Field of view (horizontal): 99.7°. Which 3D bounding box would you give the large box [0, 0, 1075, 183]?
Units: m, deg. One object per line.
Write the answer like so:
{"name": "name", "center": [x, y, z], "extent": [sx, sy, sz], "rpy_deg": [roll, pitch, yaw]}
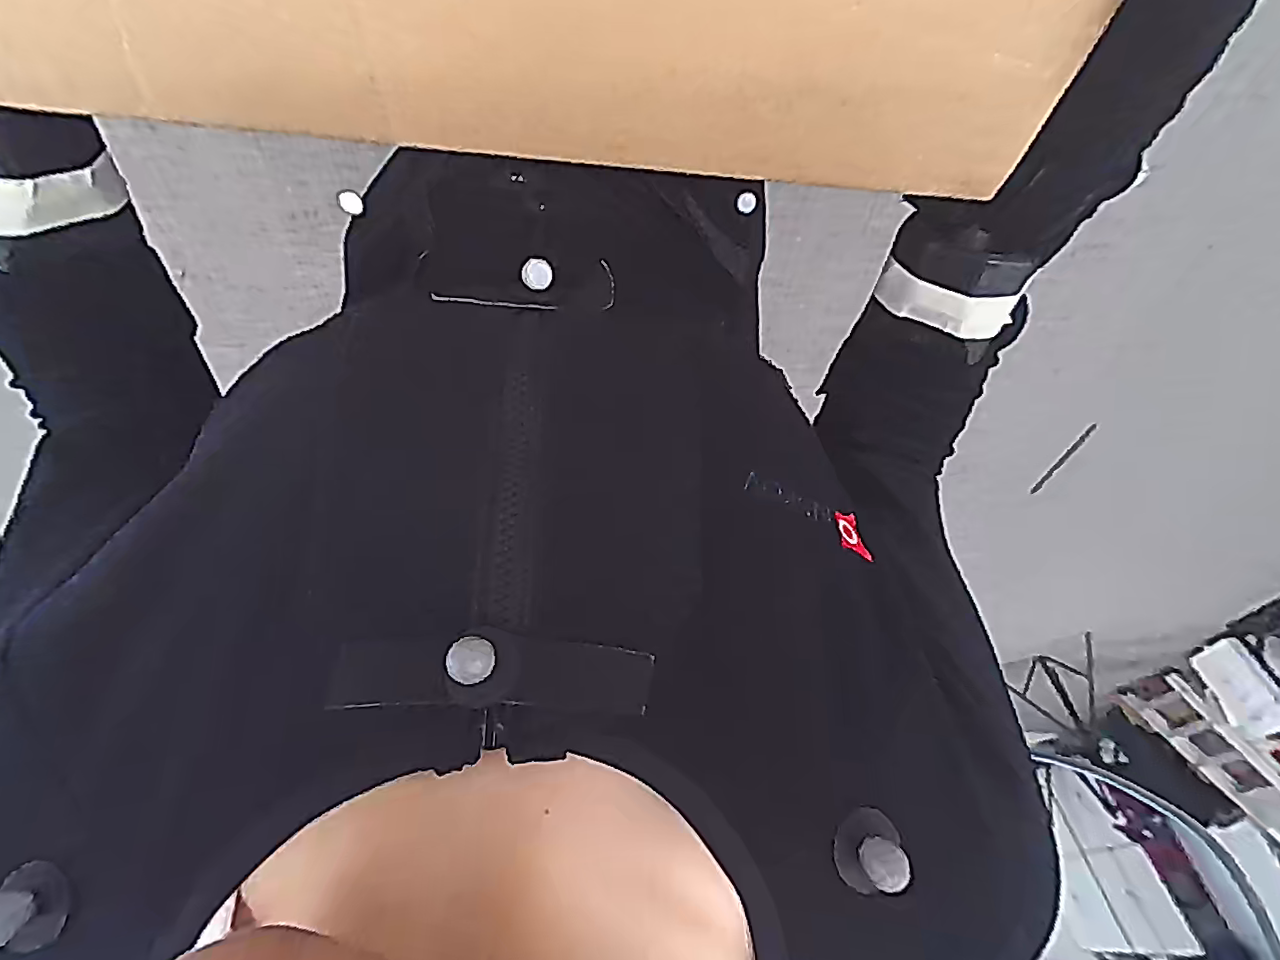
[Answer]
{"name": "large box", "center": [-0.041, -0.343, 0.172], "extent": [0.408, 0.320, 0.320], "rpy_deg": [3, 146, -4]}
